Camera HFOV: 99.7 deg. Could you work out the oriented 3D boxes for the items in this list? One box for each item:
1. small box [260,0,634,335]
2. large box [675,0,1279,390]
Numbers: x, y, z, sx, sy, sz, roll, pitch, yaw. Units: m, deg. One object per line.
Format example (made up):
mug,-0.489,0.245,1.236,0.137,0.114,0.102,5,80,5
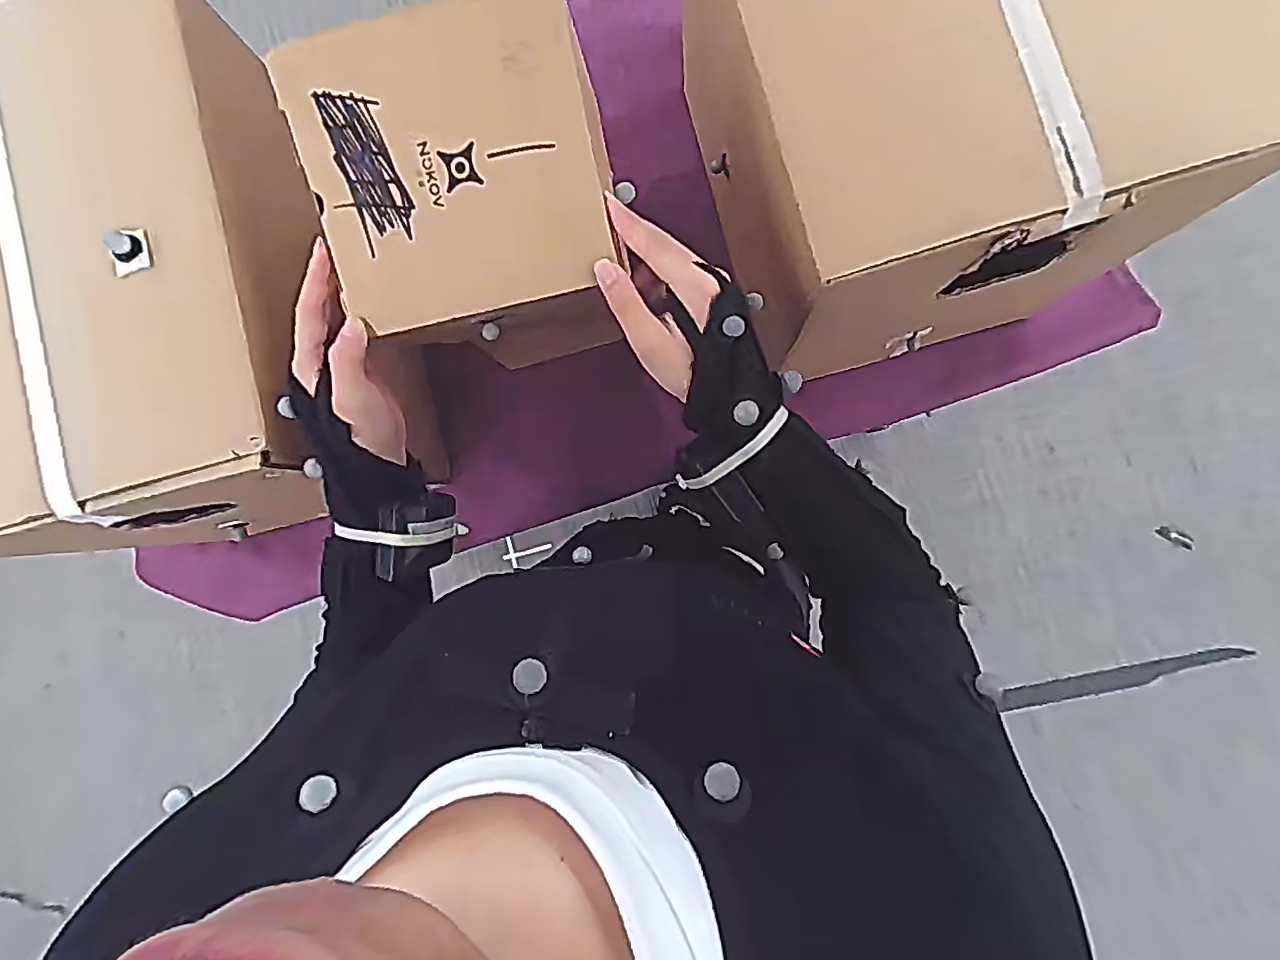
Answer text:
small box,-0.108,-0.203,0.386,0.179,0.176,0.168,-11,103,6
large box,0.228,-0.344,0.495,0.320,0.320,0.408,-16,84,5
